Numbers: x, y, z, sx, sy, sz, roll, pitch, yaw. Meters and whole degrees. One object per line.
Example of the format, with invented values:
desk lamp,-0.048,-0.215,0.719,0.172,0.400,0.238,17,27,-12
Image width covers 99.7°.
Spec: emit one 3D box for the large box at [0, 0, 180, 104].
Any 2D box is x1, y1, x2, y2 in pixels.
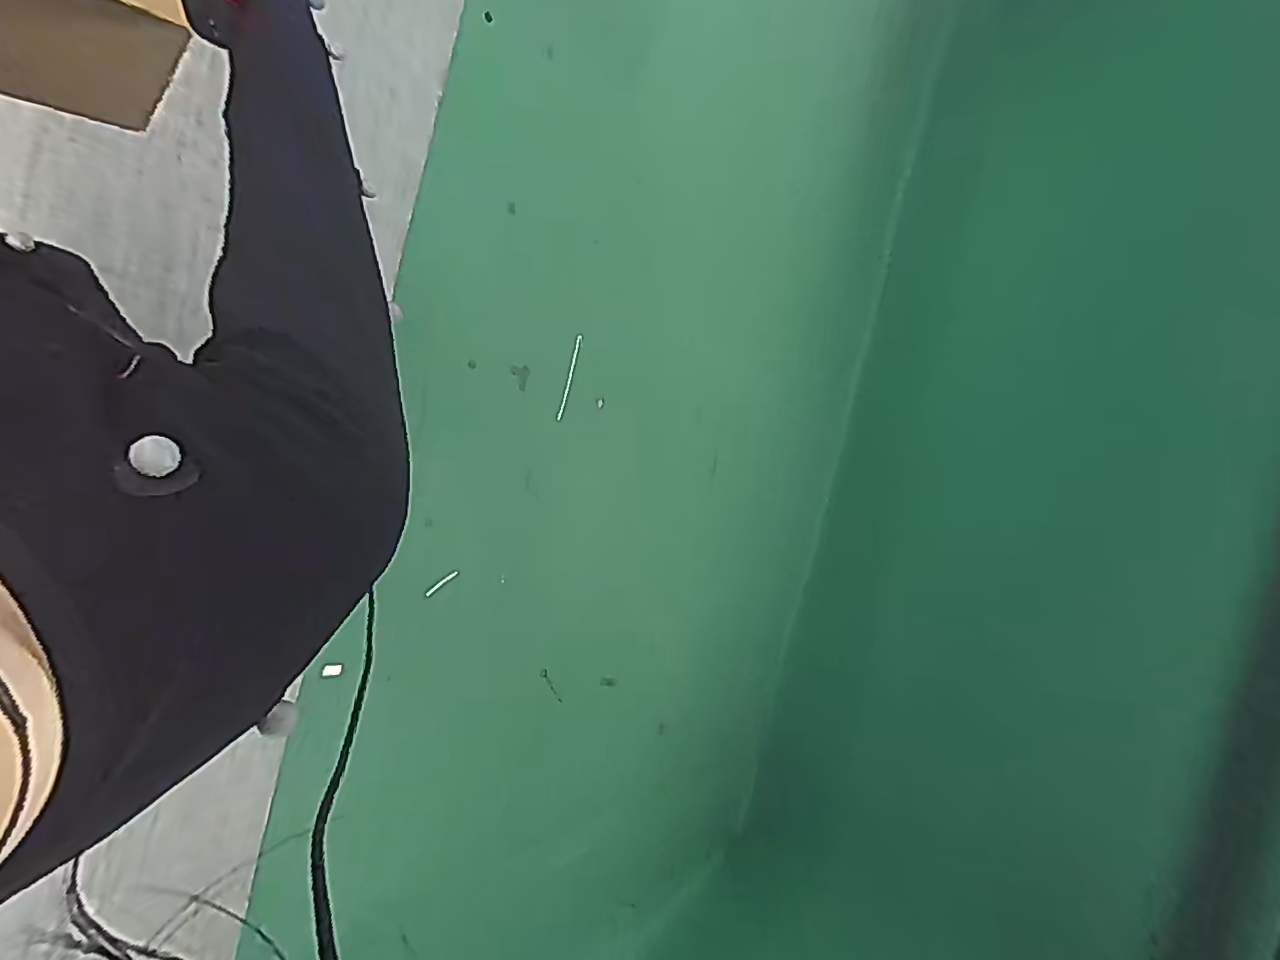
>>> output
large box,-0.612,-0.534,0.366,0.408,0.320,0.320,-10,105,-47
